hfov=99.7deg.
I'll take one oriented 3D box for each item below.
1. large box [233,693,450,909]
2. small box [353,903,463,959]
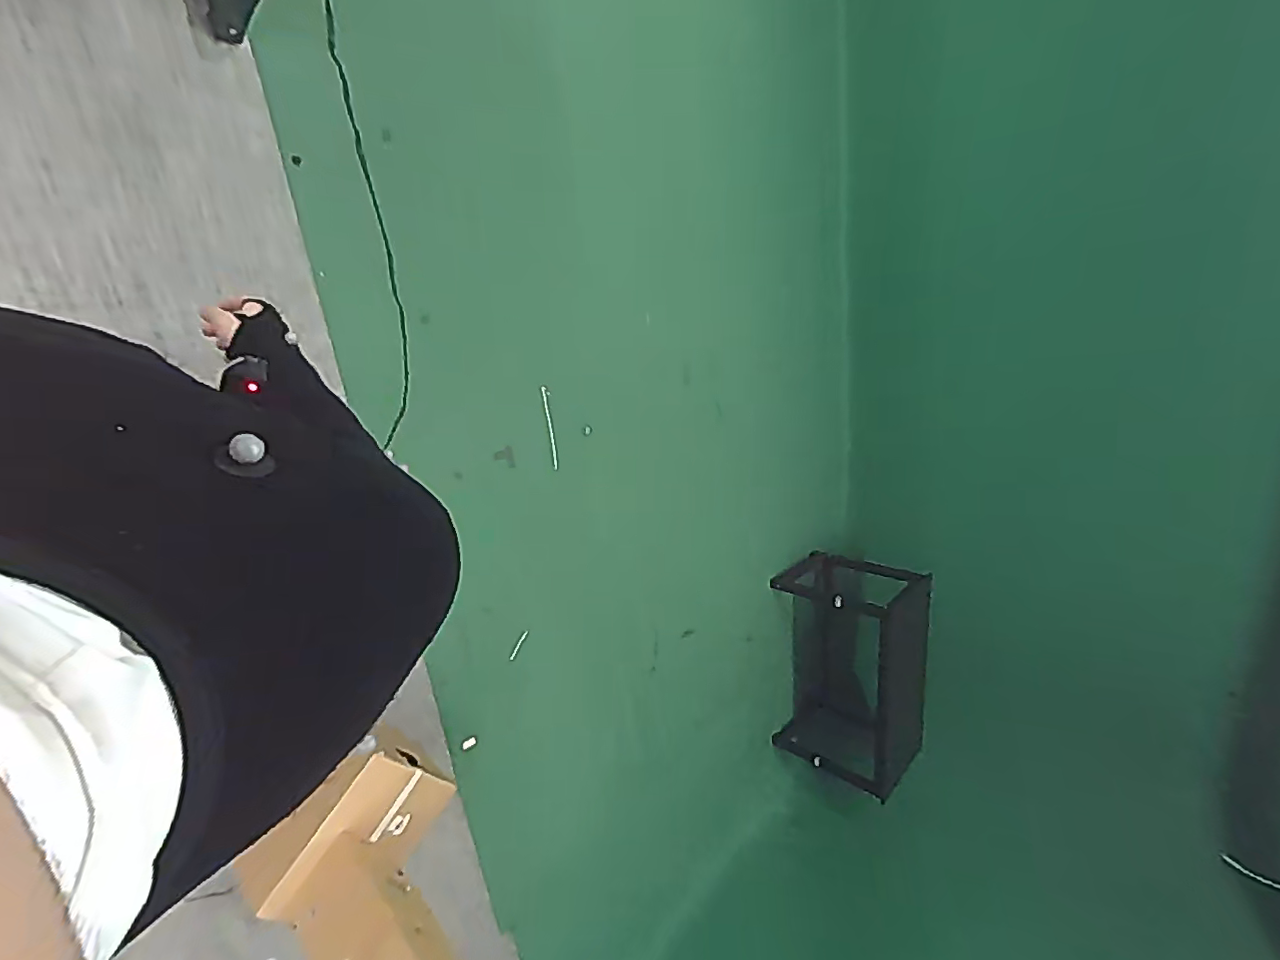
[{"bbox_3d":[-0.838,0.899,1.533,0.408,0.320,0.320,-57,133,-23],"label":"large box"},{"bbox_3d":[-0.478,1.022,1.097,0.179,0.176,0.168,-51,130,-25],"label":"small box"}]
